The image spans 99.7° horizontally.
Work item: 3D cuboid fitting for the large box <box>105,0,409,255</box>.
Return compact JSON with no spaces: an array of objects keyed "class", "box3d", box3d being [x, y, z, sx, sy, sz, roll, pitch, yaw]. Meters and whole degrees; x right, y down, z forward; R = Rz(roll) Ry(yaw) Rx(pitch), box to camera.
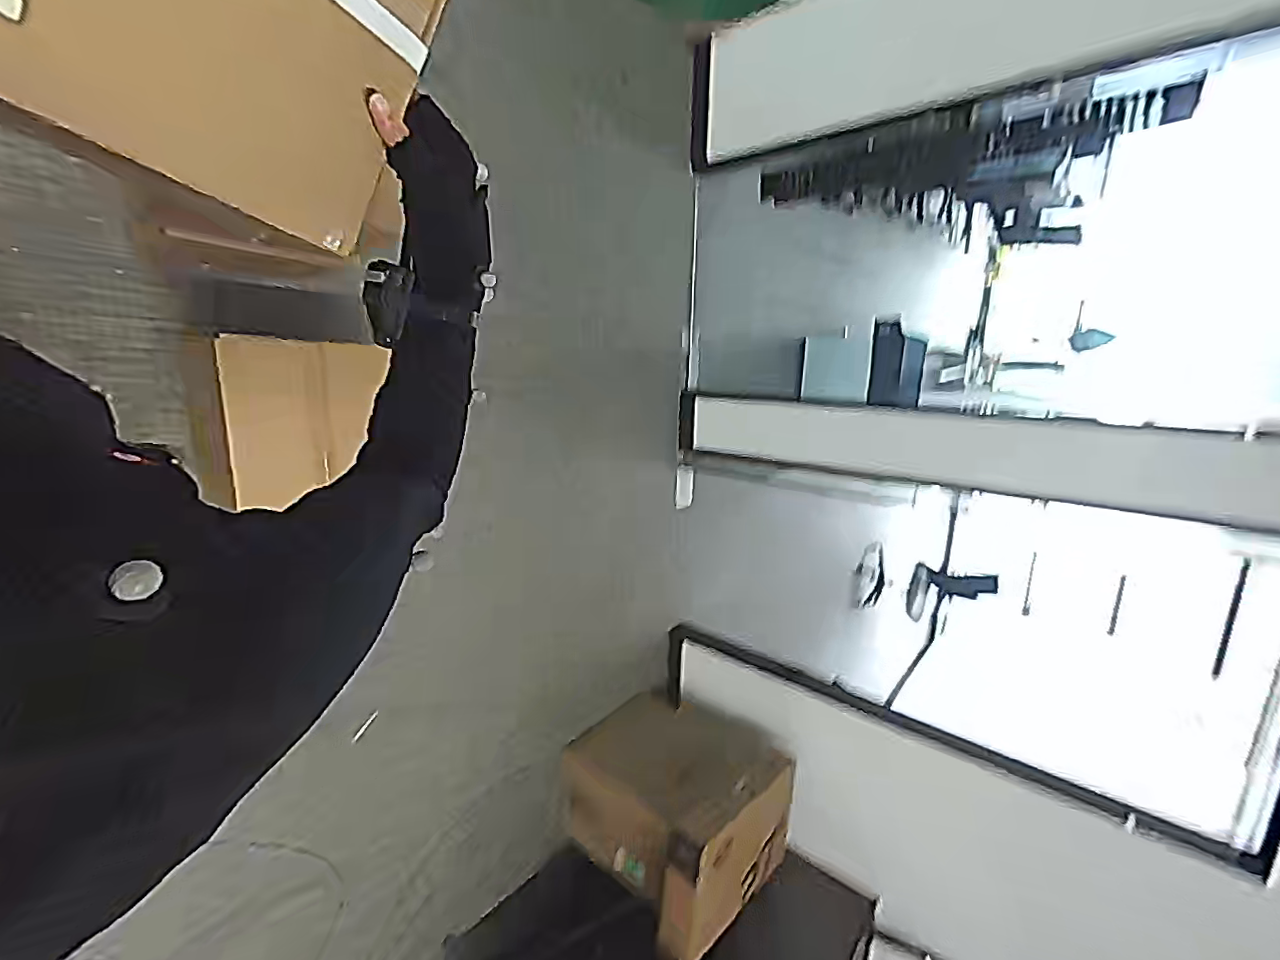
[{"class":"large box","box3d":[-0.567,-0.590,0.805,0.320,0.320,0.408,-7,104,-47]}]
